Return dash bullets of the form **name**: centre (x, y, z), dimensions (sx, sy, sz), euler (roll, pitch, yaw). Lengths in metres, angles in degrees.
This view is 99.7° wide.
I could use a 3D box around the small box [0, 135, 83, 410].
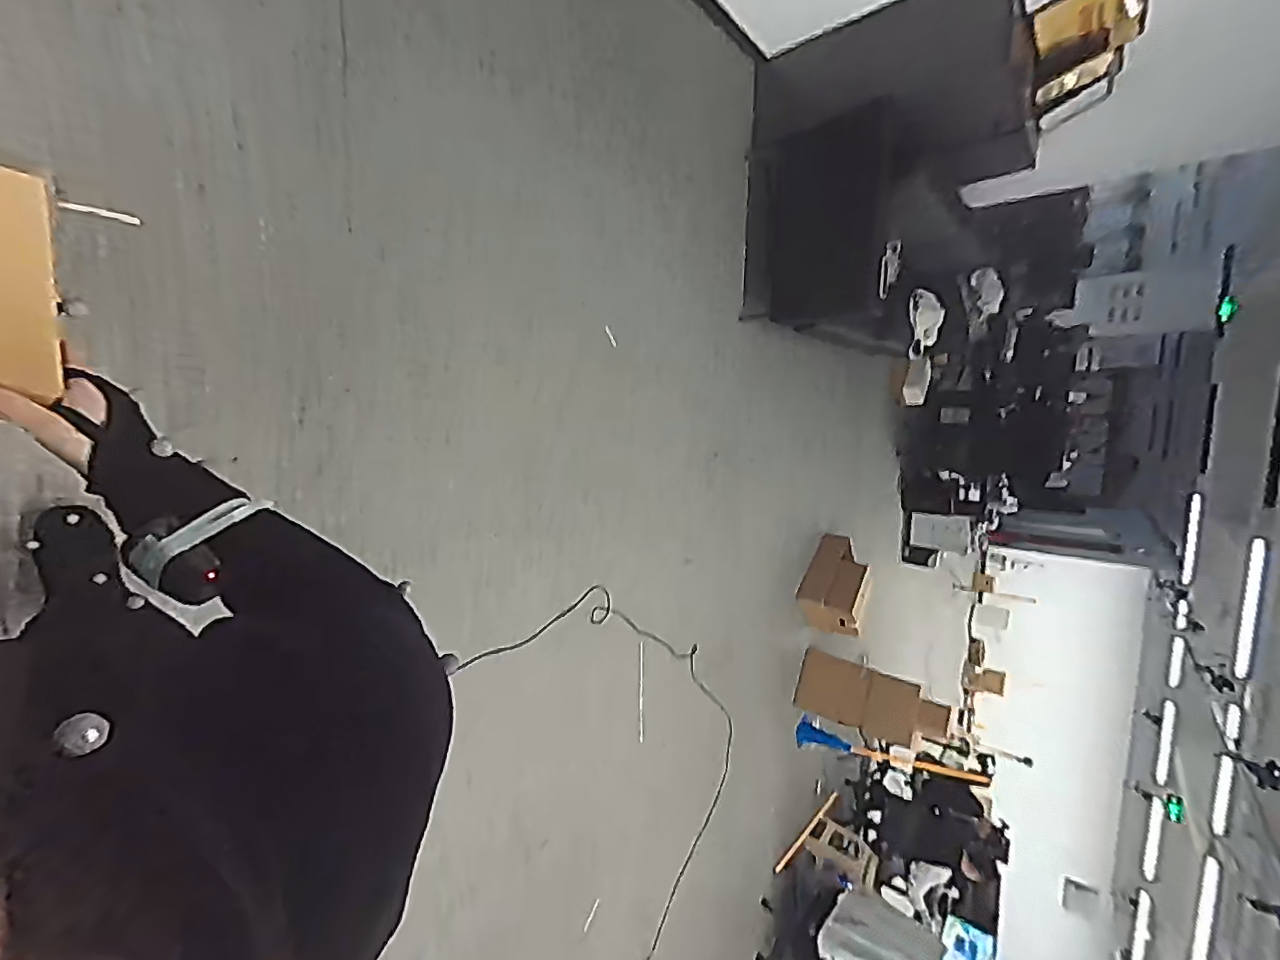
- **small box**: centre (-0.522, -0.164, 0.383), dimensions (0.168, 0.176, 0.179), euler (-5, 122, -45)
